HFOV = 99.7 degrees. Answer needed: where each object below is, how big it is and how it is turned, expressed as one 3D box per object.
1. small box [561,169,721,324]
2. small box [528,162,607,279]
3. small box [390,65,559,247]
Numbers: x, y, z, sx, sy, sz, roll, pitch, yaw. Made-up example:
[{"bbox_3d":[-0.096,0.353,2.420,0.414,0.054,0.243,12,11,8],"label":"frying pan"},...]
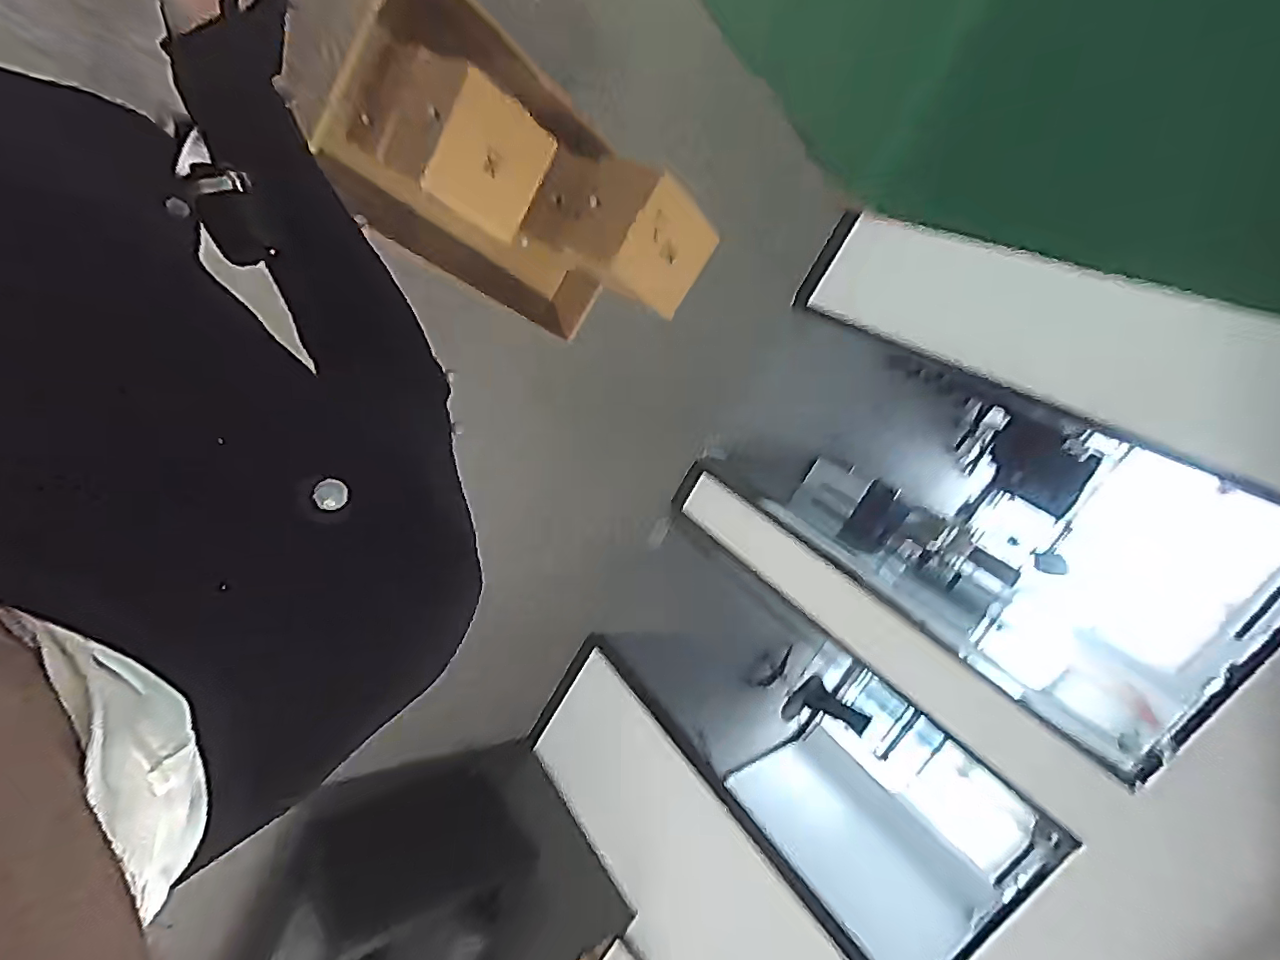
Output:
[{"bbox_3d":[-0.001,-0.405,0.934,0.179,0.176,0.168,23,104,-50],"label":"small box"},{"bbox_3d":[-0.088,-0.488,1.048,0.179,0.176,0.168,12,113,-48],"label":"small box"},{"bbox_3d":[-0.268,-0.508,0.853,0.168,0.176,0.179,16,109,-52],"label":"small box"}]
